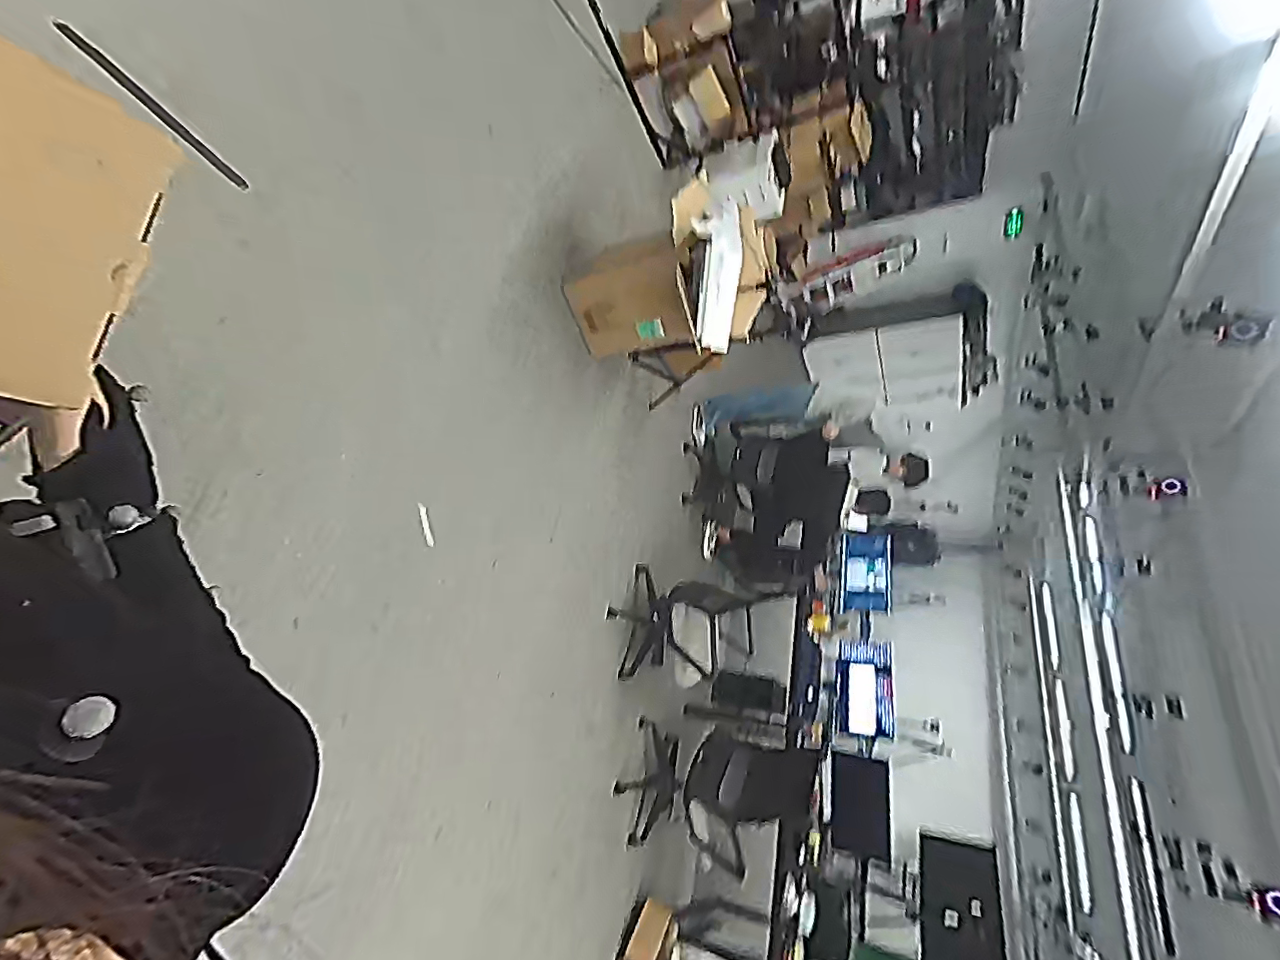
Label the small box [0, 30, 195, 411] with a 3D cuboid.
[{"bbox_3d":[-0.385,-0.153,0.270,0.179,0.176,0.168,20,90,-61],"label":"small box"}]
